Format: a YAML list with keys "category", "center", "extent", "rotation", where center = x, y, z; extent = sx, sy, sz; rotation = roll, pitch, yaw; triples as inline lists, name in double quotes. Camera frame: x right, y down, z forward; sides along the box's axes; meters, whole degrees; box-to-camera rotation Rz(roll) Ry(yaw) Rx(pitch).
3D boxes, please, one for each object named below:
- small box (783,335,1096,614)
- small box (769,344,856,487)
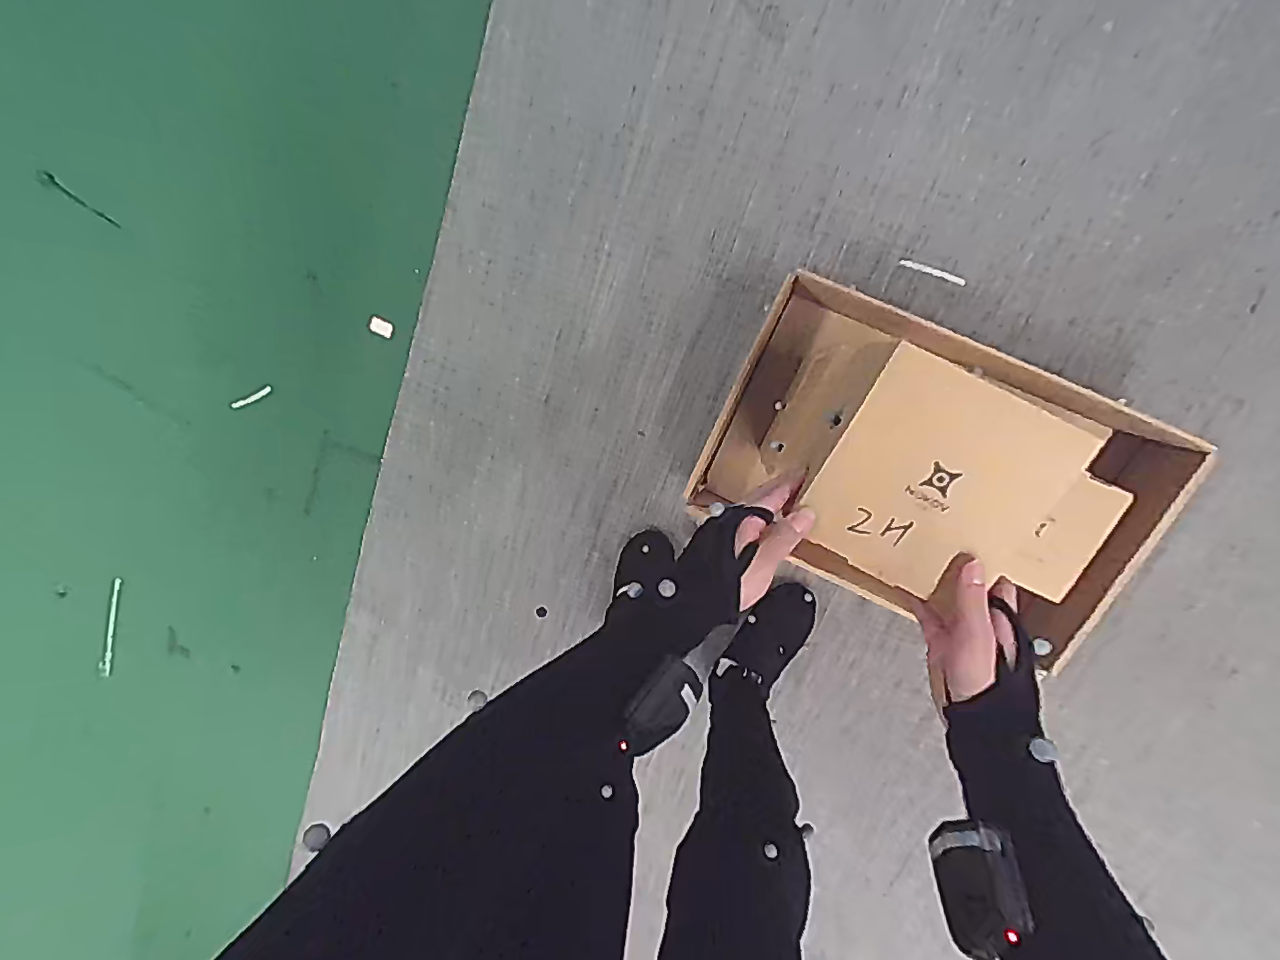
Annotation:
- category: "small box"
  center: [0.244, -0.018, 0.502]
  extent: [0.168, 0.176, 0.179]
  rotation: [28, 108, 5]
- category: "small box"
  center: [0.272, -0.056, 0.687]
  extent: [0.168, 0.176, 0.179]
  rotation: [26, 104, 5]
